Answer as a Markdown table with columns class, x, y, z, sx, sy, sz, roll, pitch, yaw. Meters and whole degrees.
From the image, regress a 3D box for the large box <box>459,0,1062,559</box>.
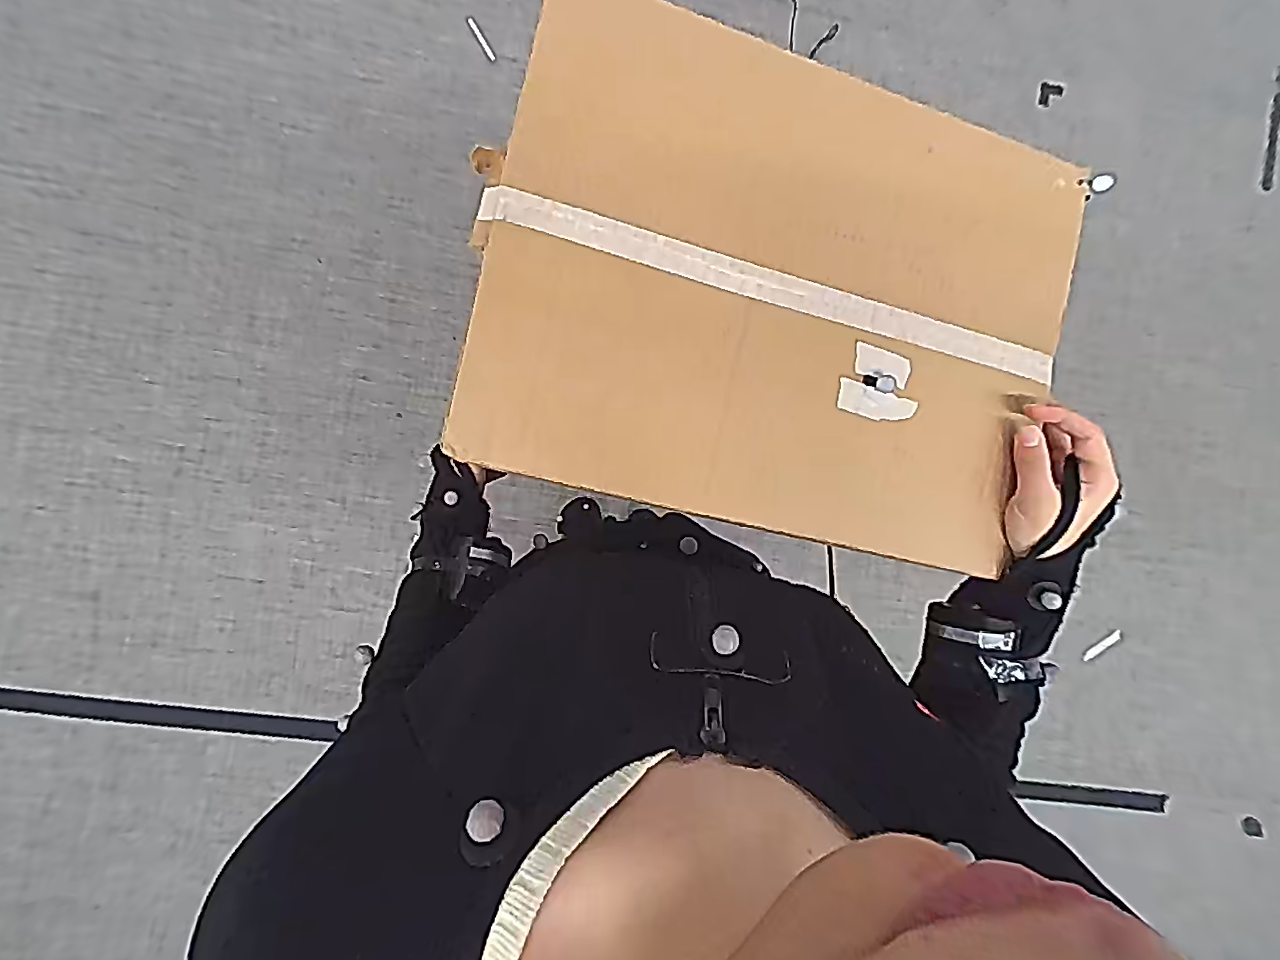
| class | x | y | z | sx | sy | sz | roll | pitch | yaw |
| --- | --- | --- | --- | --- | --- | --- | --- | --- | --- |
| large box | 0.075 | -0.129 | 0.517 | 0.408 | 0.320 | 0.320 | 13 | 89 | -12 |
